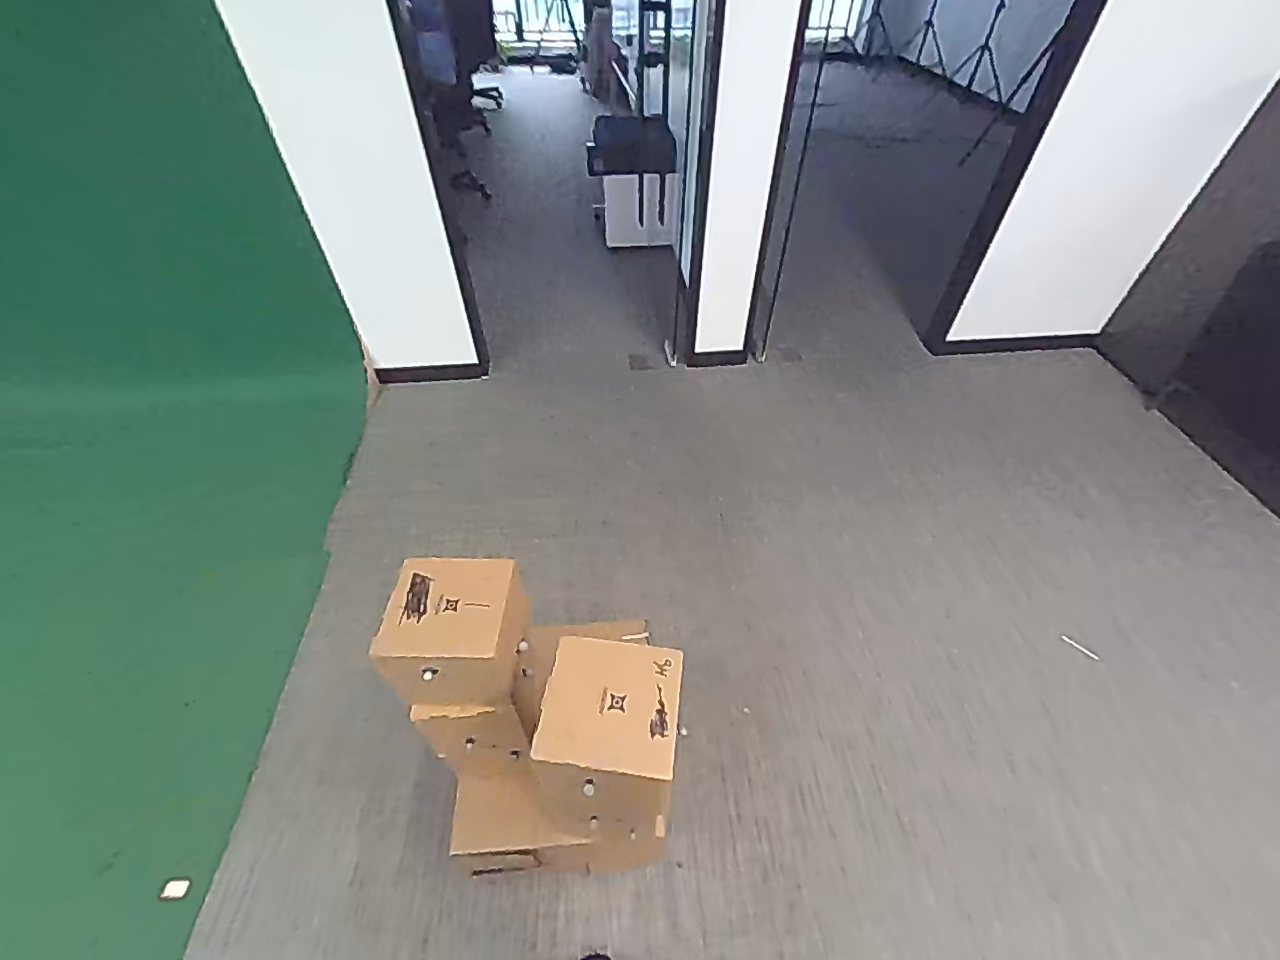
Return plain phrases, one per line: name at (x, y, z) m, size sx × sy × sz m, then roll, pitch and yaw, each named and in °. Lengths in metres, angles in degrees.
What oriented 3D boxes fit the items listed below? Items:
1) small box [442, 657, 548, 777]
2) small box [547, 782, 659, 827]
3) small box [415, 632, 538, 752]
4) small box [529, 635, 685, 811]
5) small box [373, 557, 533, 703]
small box at (-0.273, 0.473, 1.078) m, size 0.179 × 0.176 × 0.168 m, roll -4°, pitch 45°, yaw -4°
small box at (-0.048, 0.441, 0.881) m, size 0.168 × 0.176 × 0.179 m, roll 3°, pitch 46°, yaw 2°
small box at (-0.277, 0.360, 0.961) m, size 0.168 × 0.176 × 0.179 m, roll -3°, pitch 46°, yaw -3°
small box at (-0.035, 0.339, 0.750) m, size 0.179 × 0.176 × 0.168 m, roll 6°, pitch 47°, yaw 7°
small box at (-0.278, 0.238, 0.849) m, size 0.179 × 0.176 × 0.168 m, roll 1°, pitch 46°, yaw 1°
